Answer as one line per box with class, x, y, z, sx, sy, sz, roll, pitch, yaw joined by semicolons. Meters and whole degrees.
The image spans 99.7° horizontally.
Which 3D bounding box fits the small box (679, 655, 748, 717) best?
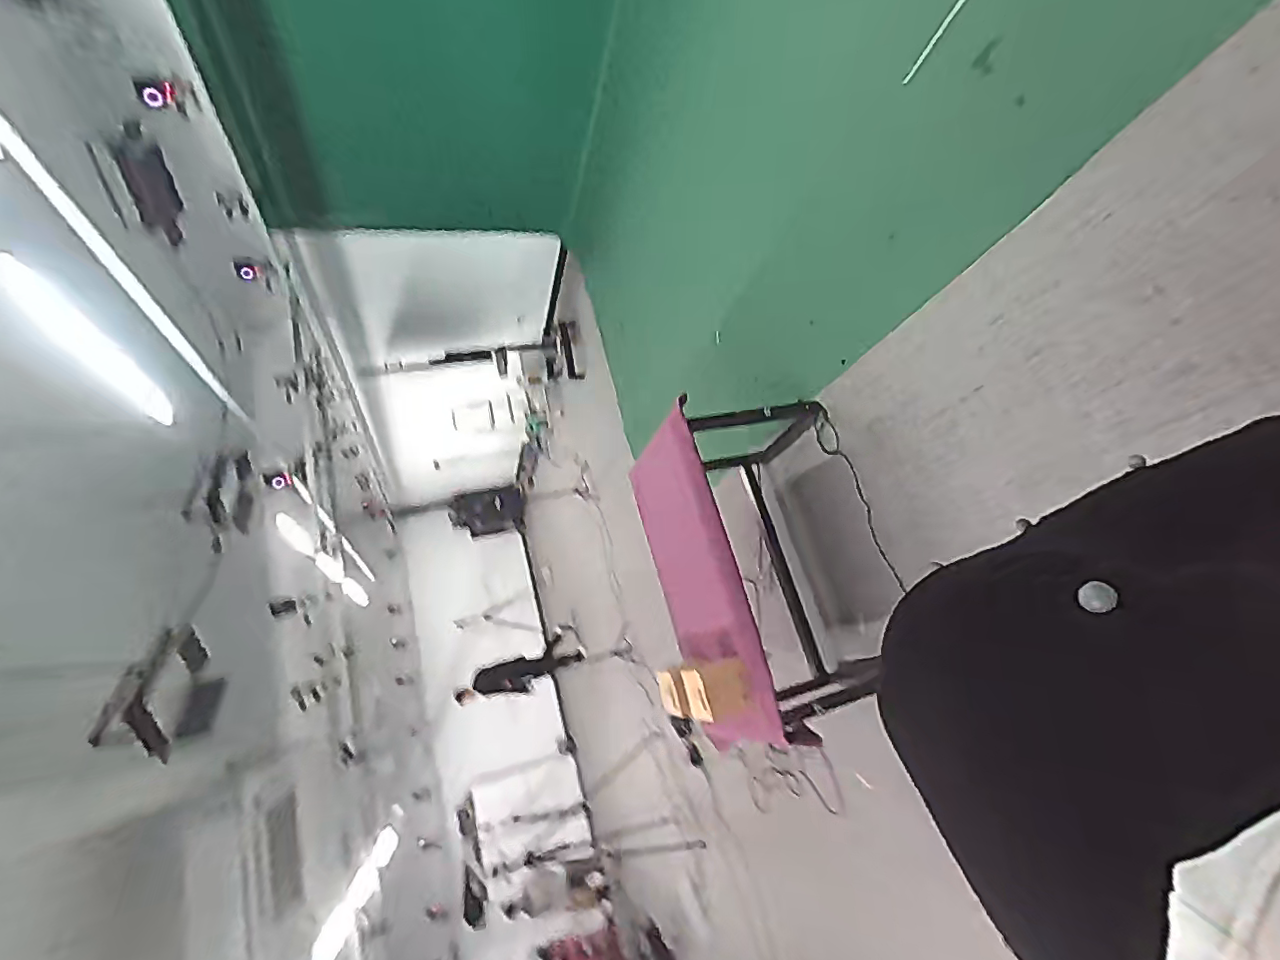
small box;0.263;0.720;1.903;0.179;0.176;0.168;130;127;-65
